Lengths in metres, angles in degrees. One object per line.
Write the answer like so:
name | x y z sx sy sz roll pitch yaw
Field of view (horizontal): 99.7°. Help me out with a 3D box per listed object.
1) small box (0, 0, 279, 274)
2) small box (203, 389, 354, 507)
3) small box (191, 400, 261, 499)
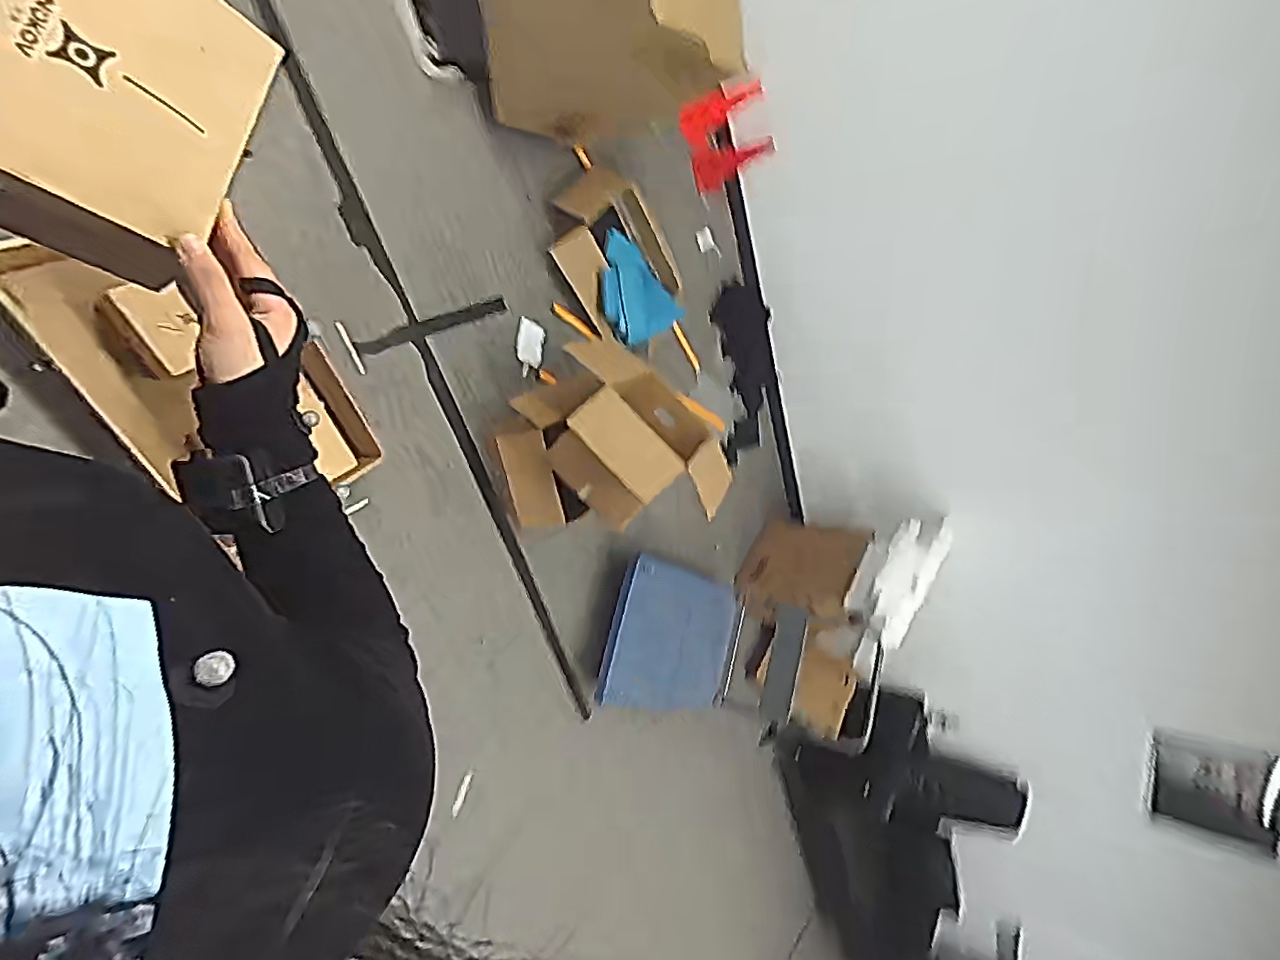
small box | -0.382 -0.254 0.349 0.179 0.176 0.168 23 79 -49
small box | -0.716 -0.067 1.074 0.168 0.176 0.179 -42 122 -39
small box | -0.837 -0.074 1.183 0.179 0.176 0.168 -42 123 -40
